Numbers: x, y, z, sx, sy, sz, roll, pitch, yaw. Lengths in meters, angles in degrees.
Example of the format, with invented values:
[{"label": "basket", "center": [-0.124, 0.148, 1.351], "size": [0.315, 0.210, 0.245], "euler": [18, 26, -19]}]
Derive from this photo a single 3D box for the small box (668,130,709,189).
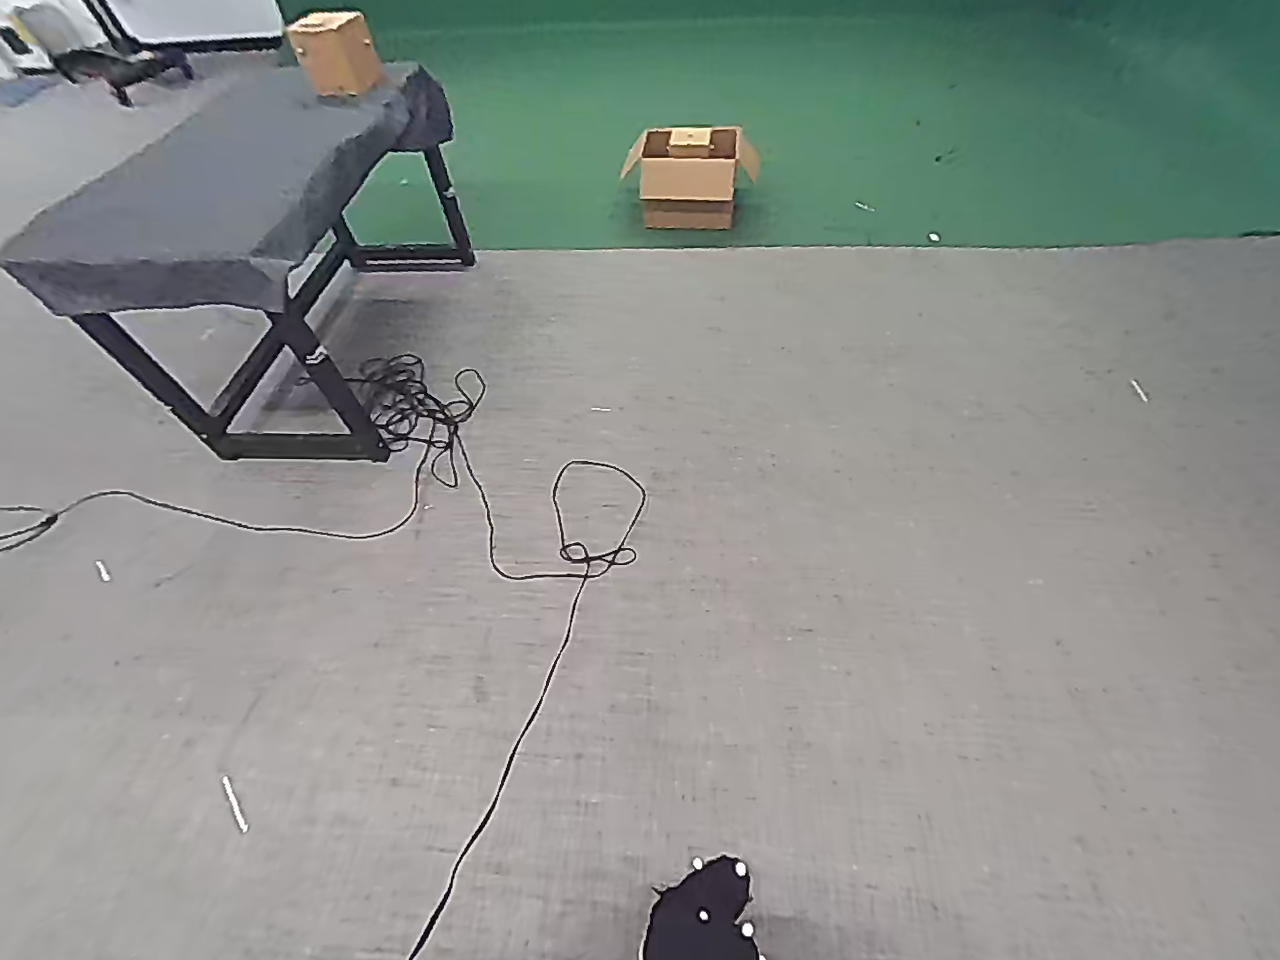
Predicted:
[{"label": "small box", "center": [0.212, -1.407, 2.372], "size": [0.168, 0.176, 0.179], "euler": [5, 53, 6]}]
